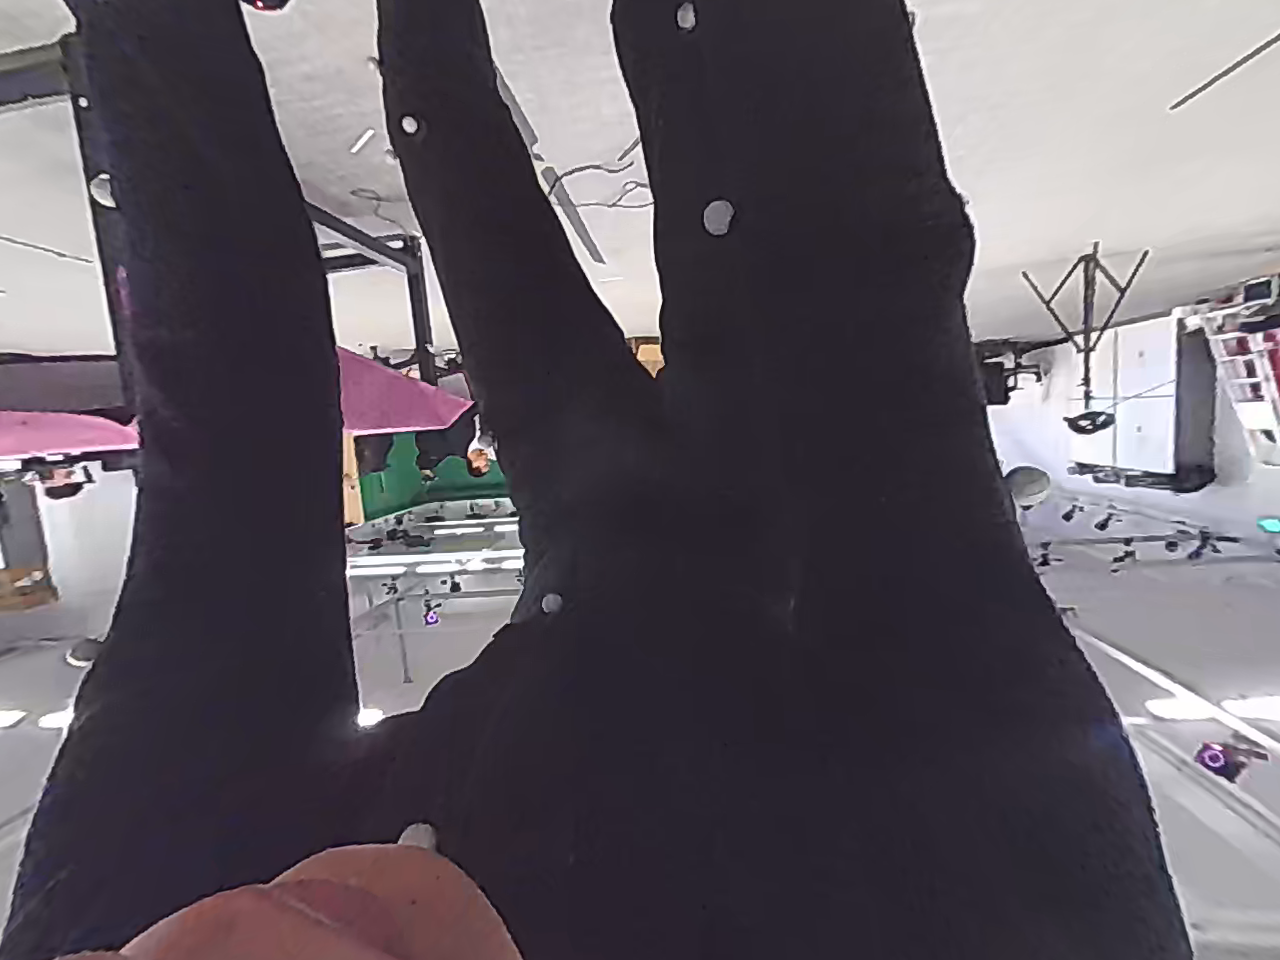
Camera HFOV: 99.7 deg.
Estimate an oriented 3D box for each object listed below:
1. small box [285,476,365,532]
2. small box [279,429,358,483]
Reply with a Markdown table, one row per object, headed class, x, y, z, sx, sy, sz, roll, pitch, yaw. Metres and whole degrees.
| class | x | y | z | sx | sy | sz | roll | pitch | yaw |
| --- | --- | --- | --- | --- | --- | --- | --- | --- | --- |
| small box | -1.096 | 0.076 | 1.881 | 0.179 | 0.176 | 0.168 | -3 | -174 | 11 |
| small box | -1.109 | -0.086 | 1.862 | 0.179 | 0.176 | 0.168 | -4 | -173 | 7 |
